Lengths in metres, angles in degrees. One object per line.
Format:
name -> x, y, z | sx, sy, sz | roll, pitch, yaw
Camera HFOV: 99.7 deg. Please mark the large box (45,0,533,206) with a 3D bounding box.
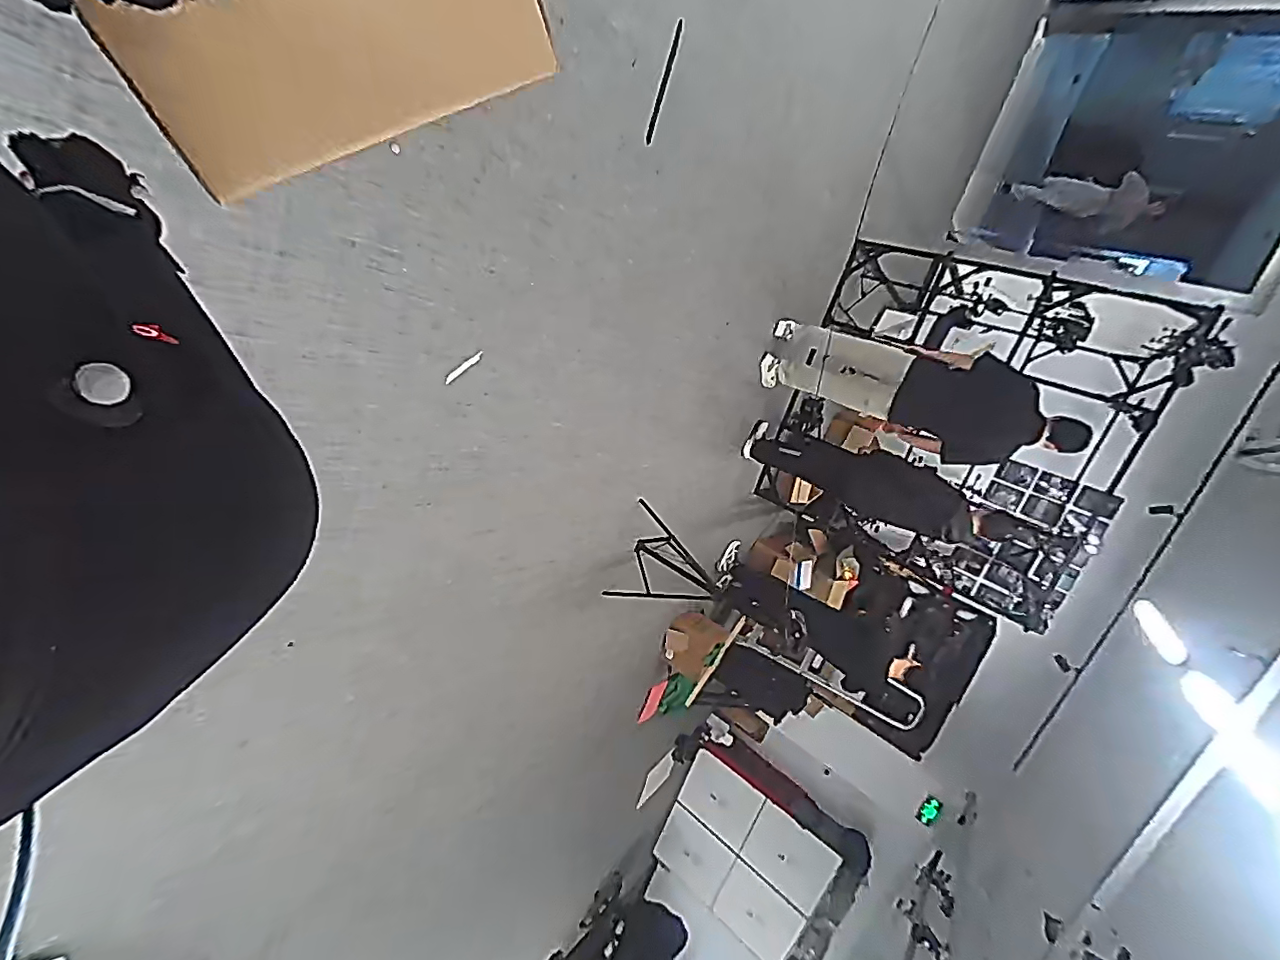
large box -> -0.346, -0.488, 0.517 | 0.320, 0.408, 0.320 | -29, 127, -13
